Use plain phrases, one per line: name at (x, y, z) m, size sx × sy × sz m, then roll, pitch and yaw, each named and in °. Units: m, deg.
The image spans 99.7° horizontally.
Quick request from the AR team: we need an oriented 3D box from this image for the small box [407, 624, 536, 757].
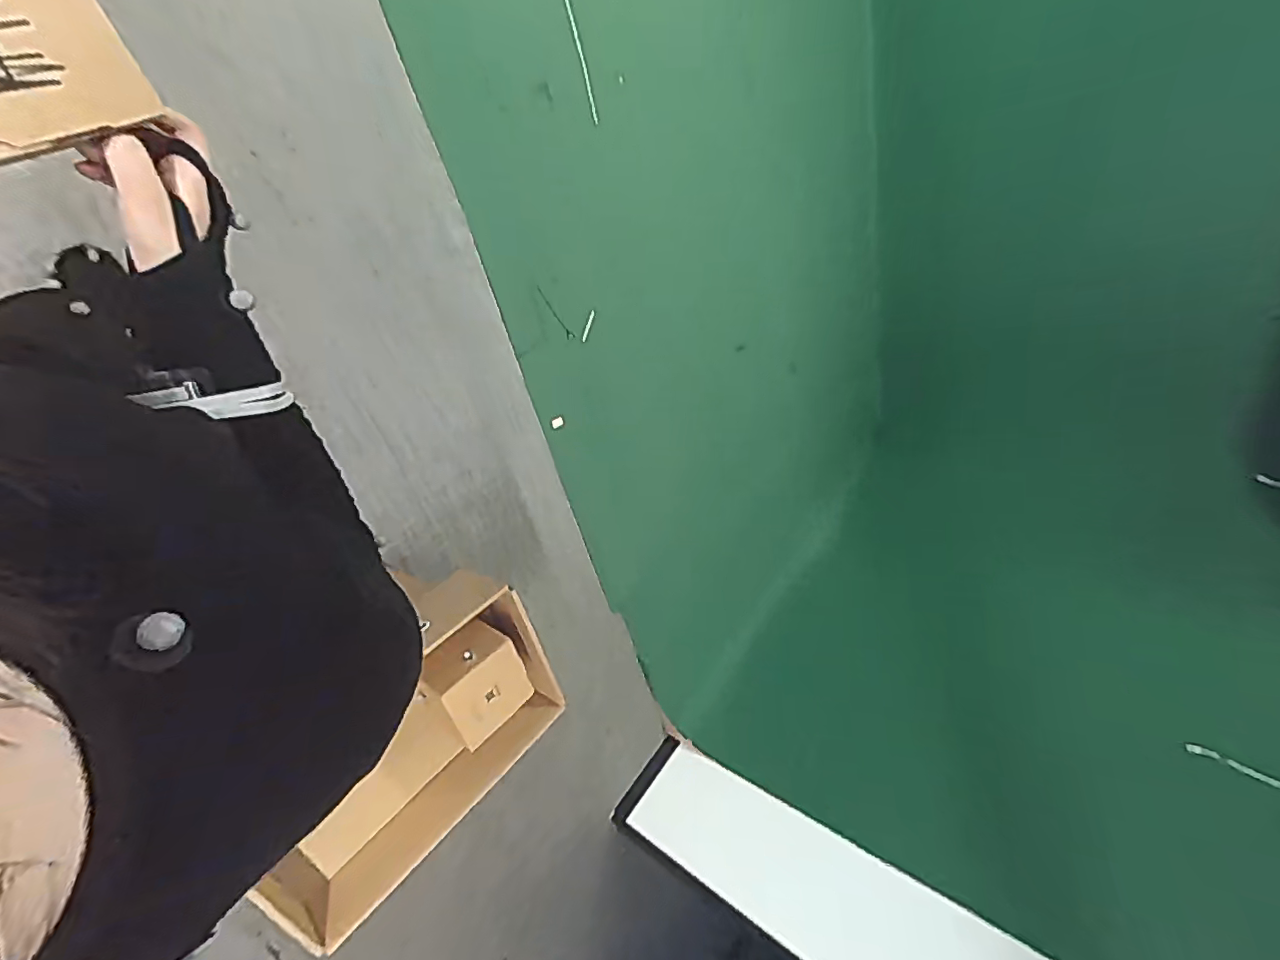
small box at (-0.360, 0.439, 1.161) m, size 0.179 × 0.176 × 0.168 m, roll -38°, pitch 124°, yaw -38°
